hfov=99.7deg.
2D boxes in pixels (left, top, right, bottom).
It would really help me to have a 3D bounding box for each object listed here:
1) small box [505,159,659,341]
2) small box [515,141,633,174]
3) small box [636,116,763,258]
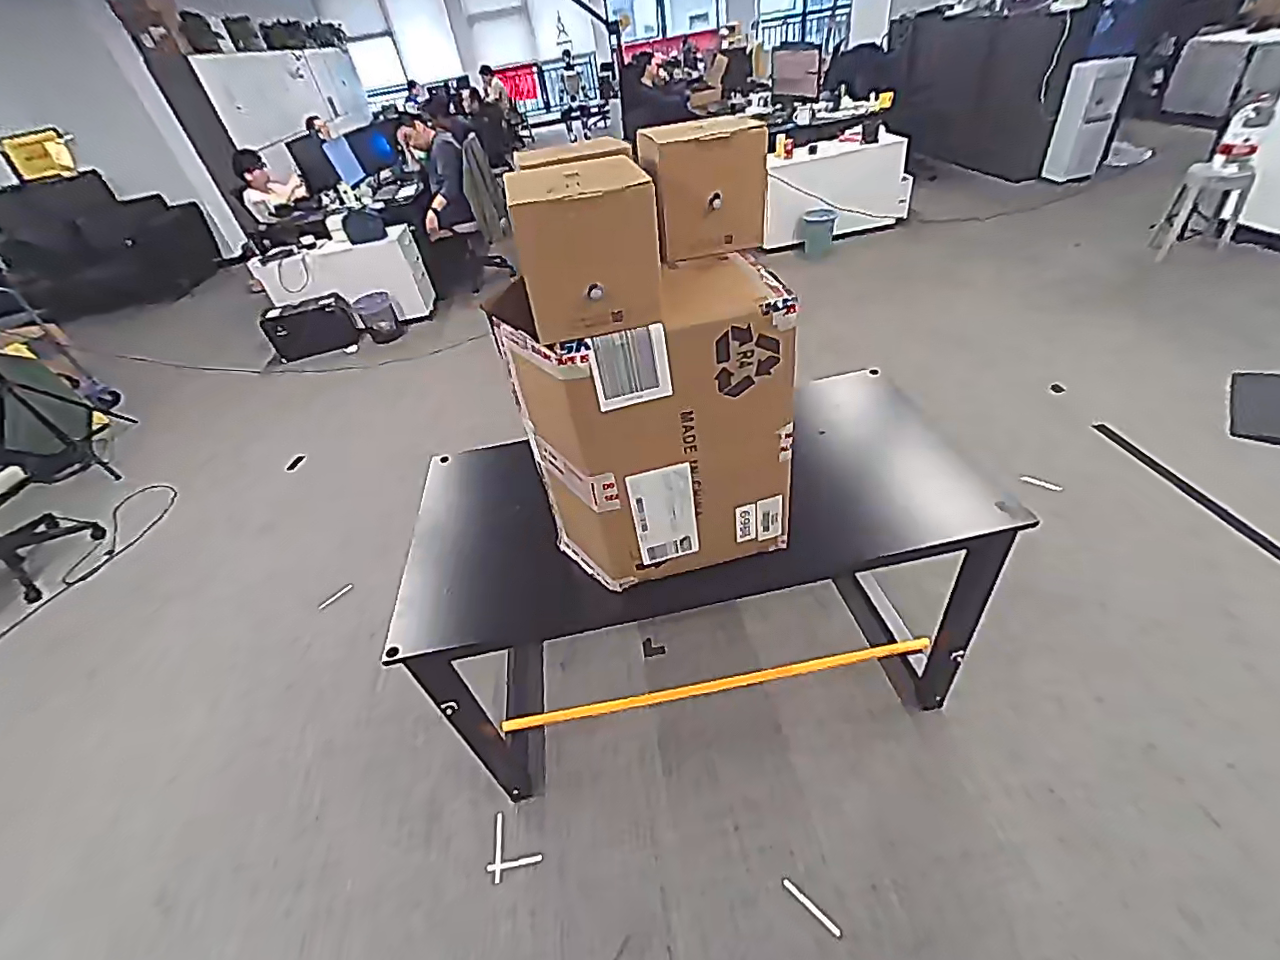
[{"bbox_3d":[-0.076,-0.305,0.715,0.168,0.176,0.179,-13,41,-5],"label":"small box"},{"bbox_3d":[-0.102,-0.441,0.889,0.168,0.176,0.179,-14,39,-6],"label":"small box"},{"bbox_3d":[0.095,-0.478,0.890,0.168,0.176,0.179,-11,40,-5],"label":"small box"}]
